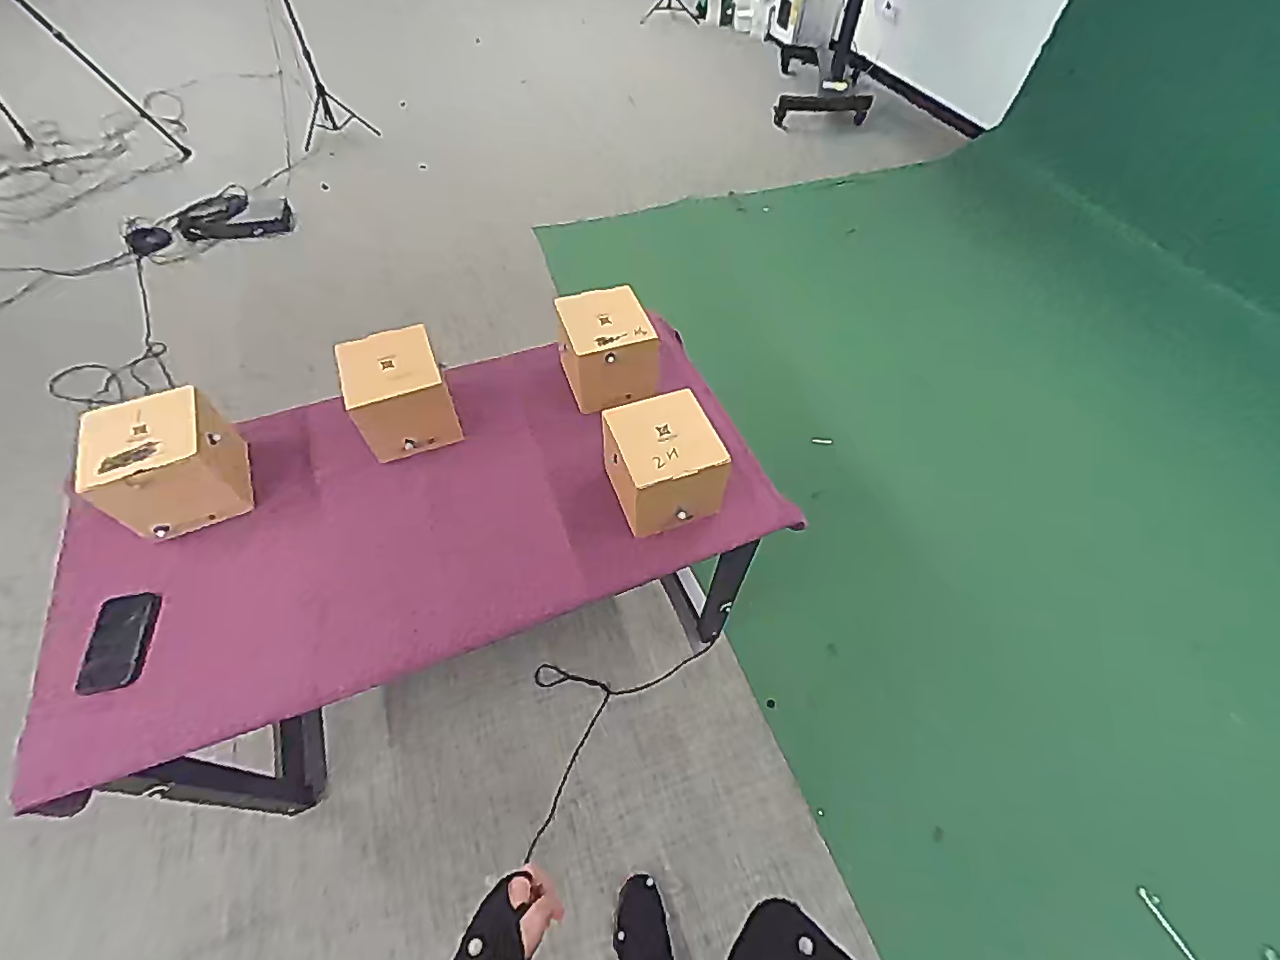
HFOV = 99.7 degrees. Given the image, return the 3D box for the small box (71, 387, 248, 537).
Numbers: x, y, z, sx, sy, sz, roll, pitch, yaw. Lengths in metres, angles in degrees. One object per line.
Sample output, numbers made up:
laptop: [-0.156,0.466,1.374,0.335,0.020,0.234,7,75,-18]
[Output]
small box: [-0.810,-0.024,0.931,0.168,0.176,0.179,-21,57,-17]

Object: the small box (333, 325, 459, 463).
small box: [-0.465,-0.163,1.042,0.168,0.176,0.179,-19,58,-14]

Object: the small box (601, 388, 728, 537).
small box: [0.035,-0.029,0.956,0.168,0.176,0.179,-17,57,-11]

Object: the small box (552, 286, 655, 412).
small box: [-0.078,-0.271,1.129,0.168,0.176,0.179,-17,57,-12]
